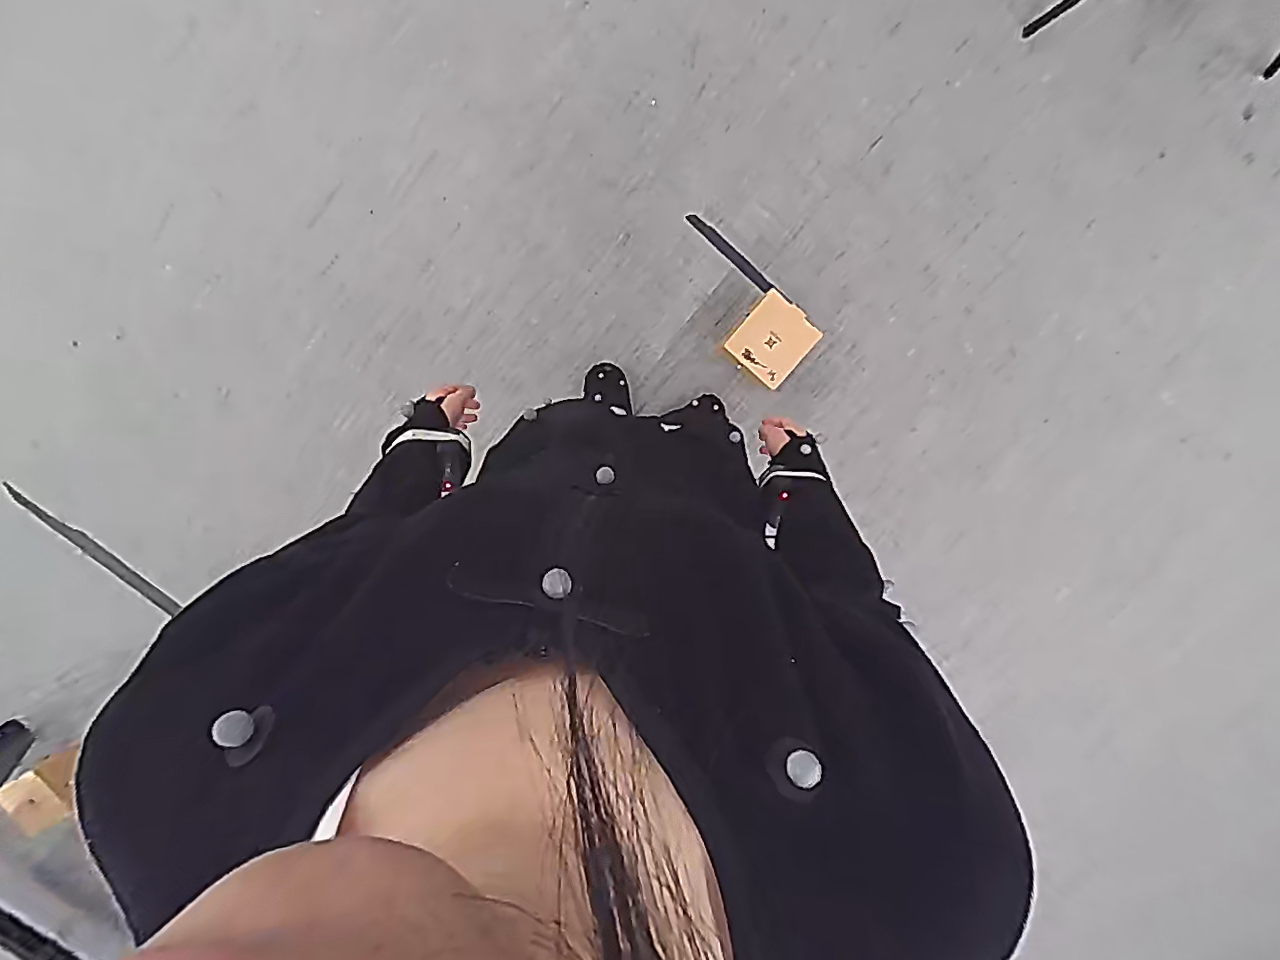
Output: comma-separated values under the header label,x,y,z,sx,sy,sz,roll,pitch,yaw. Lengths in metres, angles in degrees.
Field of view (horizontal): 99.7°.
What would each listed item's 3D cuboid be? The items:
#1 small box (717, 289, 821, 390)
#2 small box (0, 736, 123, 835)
label,x,y,z,sx,sy,sz,roll,pitch,yaw
small box,0.312,-0.346,1.353,0.168,0.176,0.179,40,98,-7
small box,-1.759,0.915,1.642,0.168,0.176,0.179,-31,101,6
